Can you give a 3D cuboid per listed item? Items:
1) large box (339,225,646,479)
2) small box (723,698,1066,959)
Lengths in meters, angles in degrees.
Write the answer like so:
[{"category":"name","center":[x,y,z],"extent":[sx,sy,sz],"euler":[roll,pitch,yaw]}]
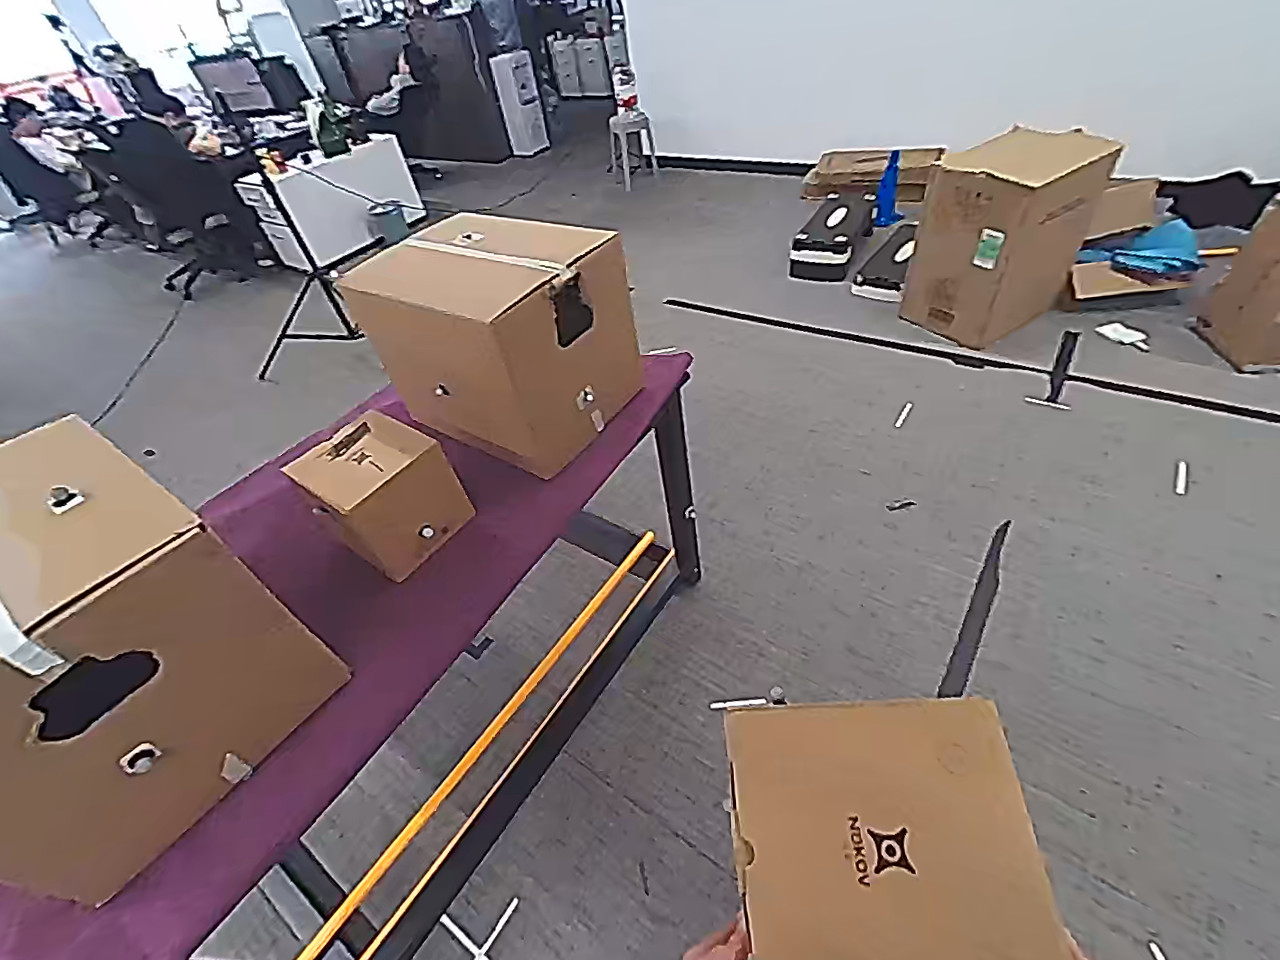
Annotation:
[{"category":"large box","center":[-0.251,-0.253,1.018],"extent":[0.408,0.320,0.320],"euler":[20,52,30]},{"category":"small box","center":[0.159,0.255,0.400],"extent":[0.179,0.176,0.168],"euler":[-7,64,9]}]
